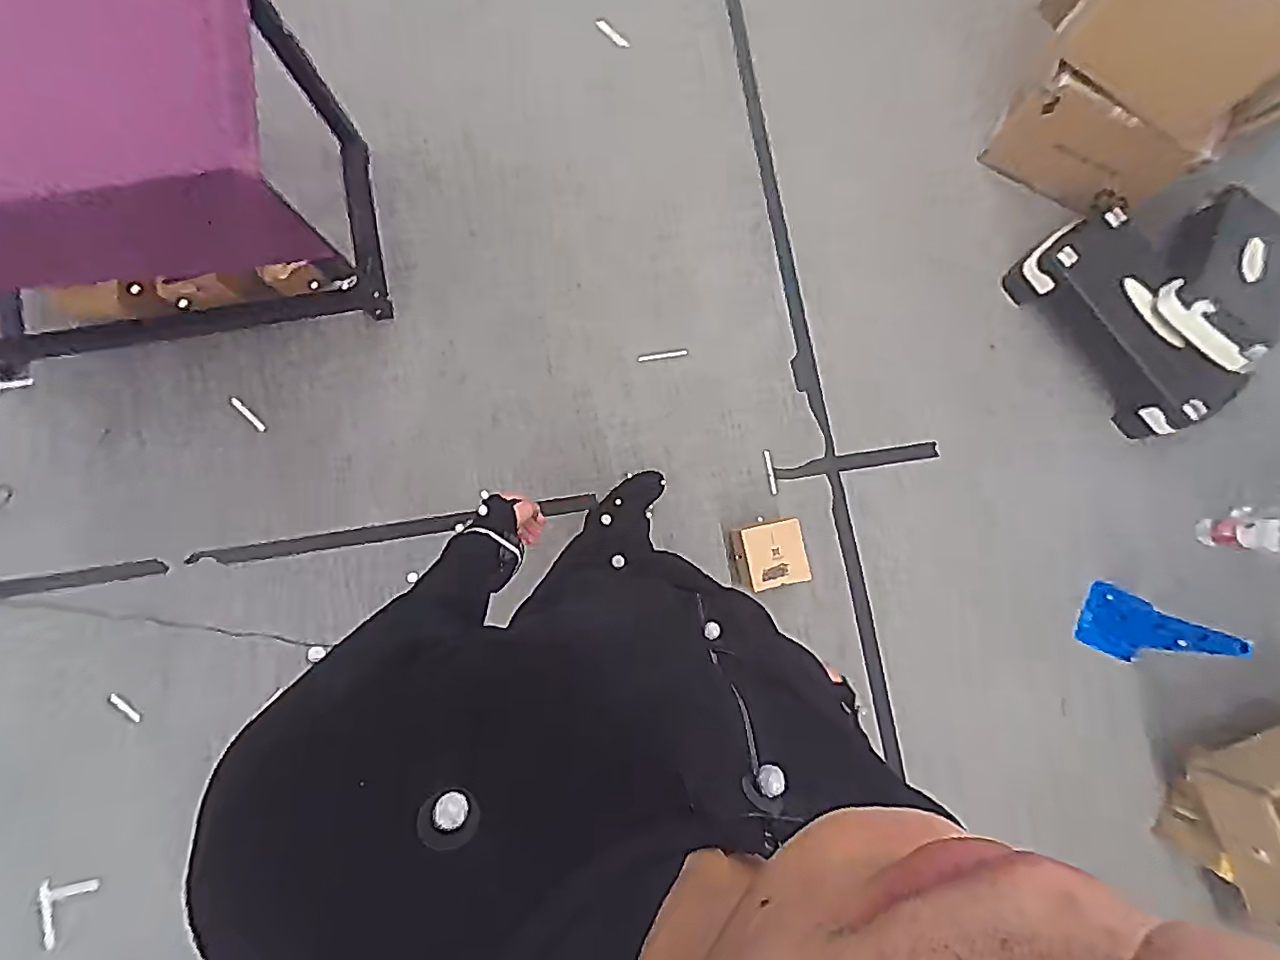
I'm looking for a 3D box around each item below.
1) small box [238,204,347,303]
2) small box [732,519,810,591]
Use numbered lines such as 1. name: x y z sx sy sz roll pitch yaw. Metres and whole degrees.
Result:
1. small box: -1.016 -0.660 1.596 0.168 0.176 0.179 -38 87 -4
2. small box: 0.375 0.211 1.572 0.168 0.176 0.179 -11 86 -2
